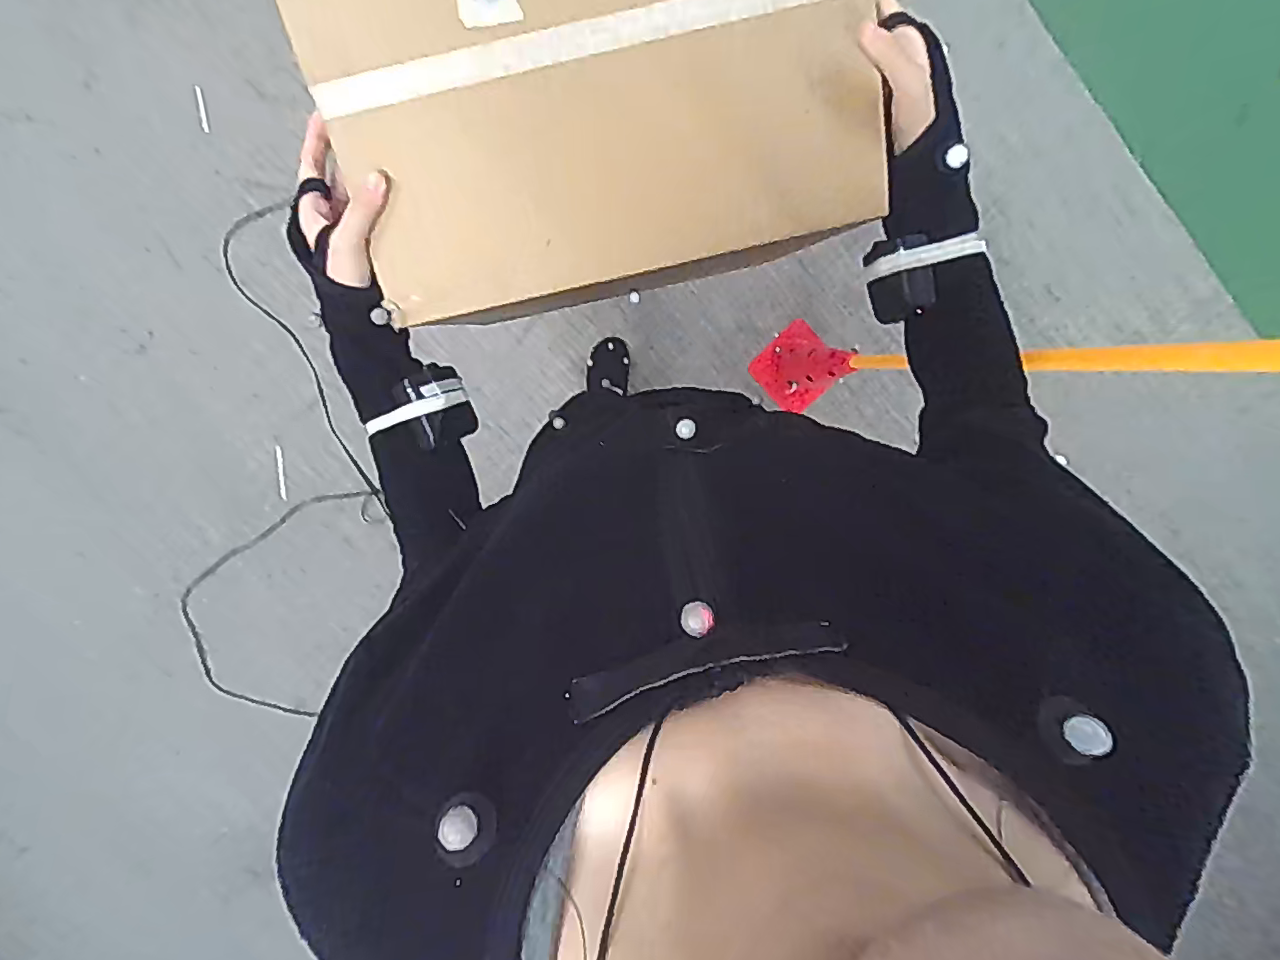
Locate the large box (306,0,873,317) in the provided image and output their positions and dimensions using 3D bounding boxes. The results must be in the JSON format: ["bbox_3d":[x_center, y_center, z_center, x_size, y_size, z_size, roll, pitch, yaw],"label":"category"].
[{"bbox_3d":[-0.037,-0.365,0.544,0.408,0.320,0.320,-12,107,1],"label":"large box"}]
